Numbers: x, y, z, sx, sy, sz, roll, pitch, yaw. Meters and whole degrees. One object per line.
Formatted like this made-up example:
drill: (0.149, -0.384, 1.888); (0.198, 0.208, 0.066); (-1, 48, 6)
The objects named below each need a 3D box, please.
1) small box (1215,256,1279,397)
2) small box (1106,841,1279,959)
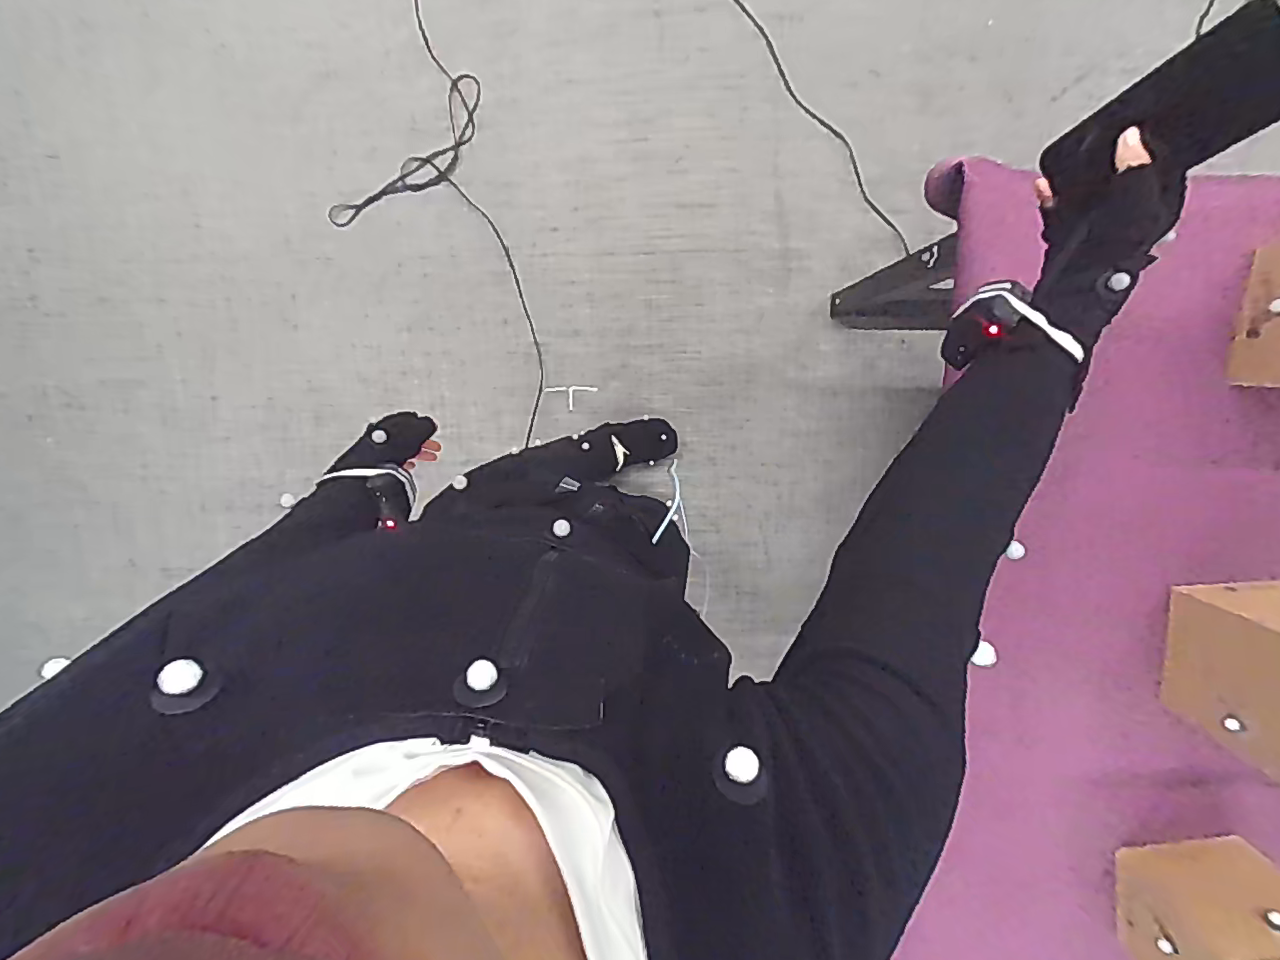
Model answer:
small box: (0.812, -0.171, 0.587); (0.179, 0.176, 0.168); (3, 100, 2)
small box: (0.778, 0.630, 0.730); (0.179, 0.176, 0.168); (-8, 99, 2)
